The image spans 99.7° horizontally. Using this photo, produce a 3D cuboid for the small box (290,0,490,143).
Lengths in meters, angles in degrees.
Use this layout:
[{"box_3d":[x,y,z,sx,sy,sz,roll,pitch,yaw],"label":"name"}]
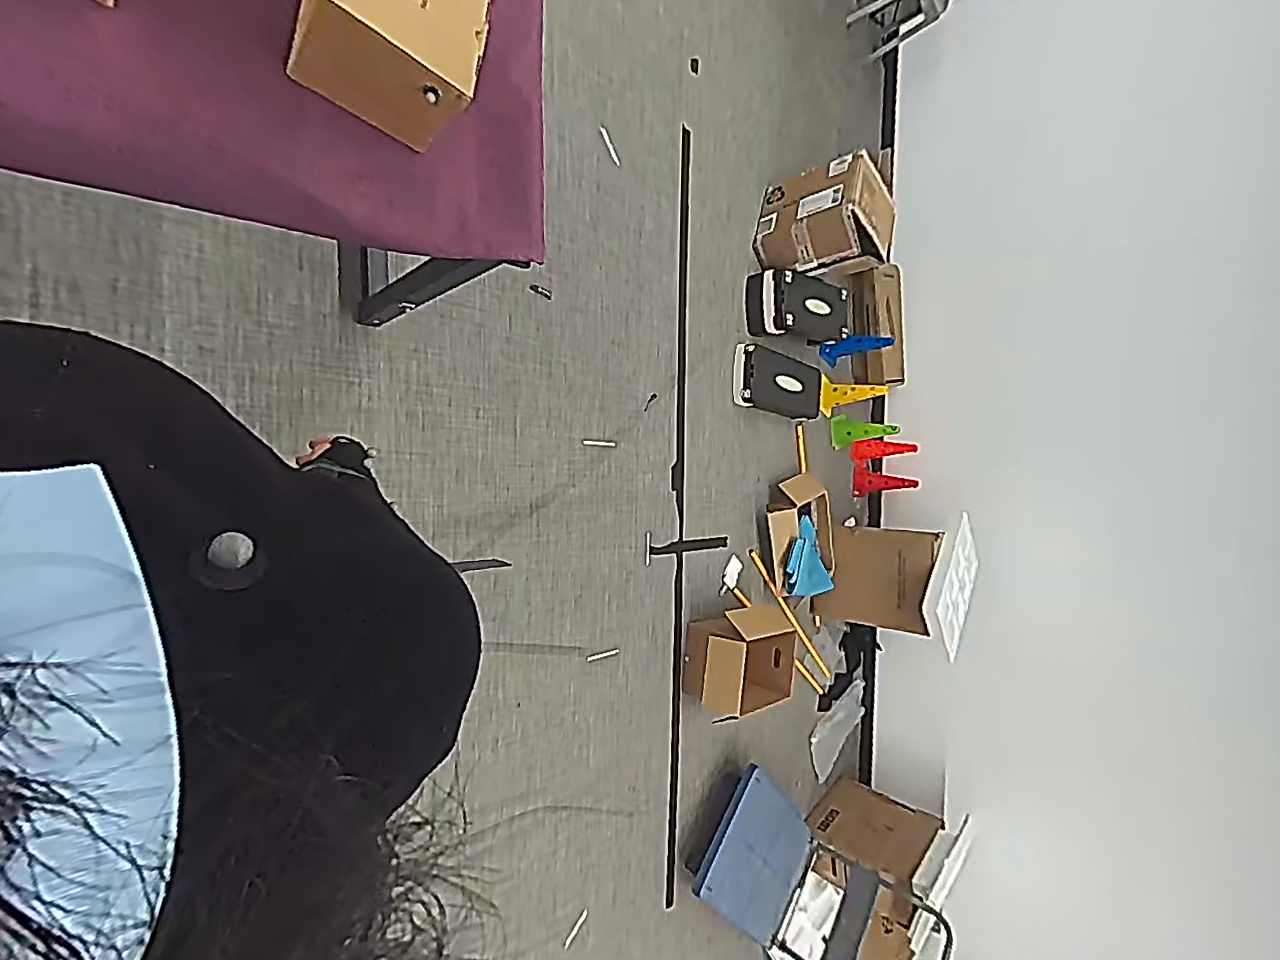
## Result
[{"box_3d":[-0.312,-0.568,0.676,0.179,0.176,0.168,12,83,-44],"label":"small box"}]
